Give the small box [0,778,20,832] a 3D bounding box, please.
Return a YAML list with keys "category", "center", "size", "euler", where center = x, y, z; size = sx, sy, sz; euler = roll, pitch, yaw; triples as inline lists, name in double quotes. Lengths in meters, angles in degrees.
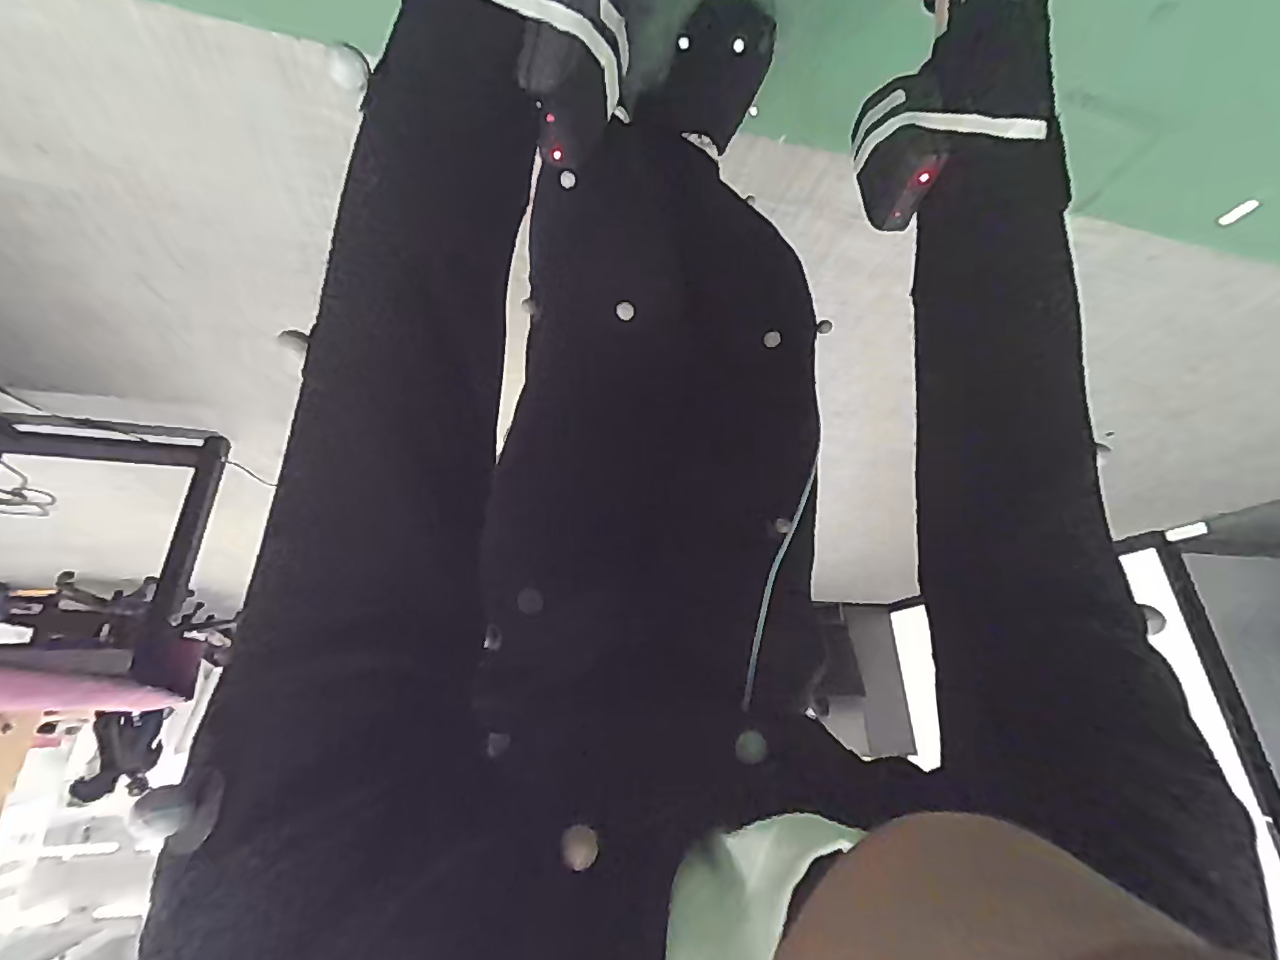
- category: "small box"
  center: [-1.357, 0.664, 1.015]
  size: [0.168, 0.176, 0.179]
  euler: [1, 157, -6]
